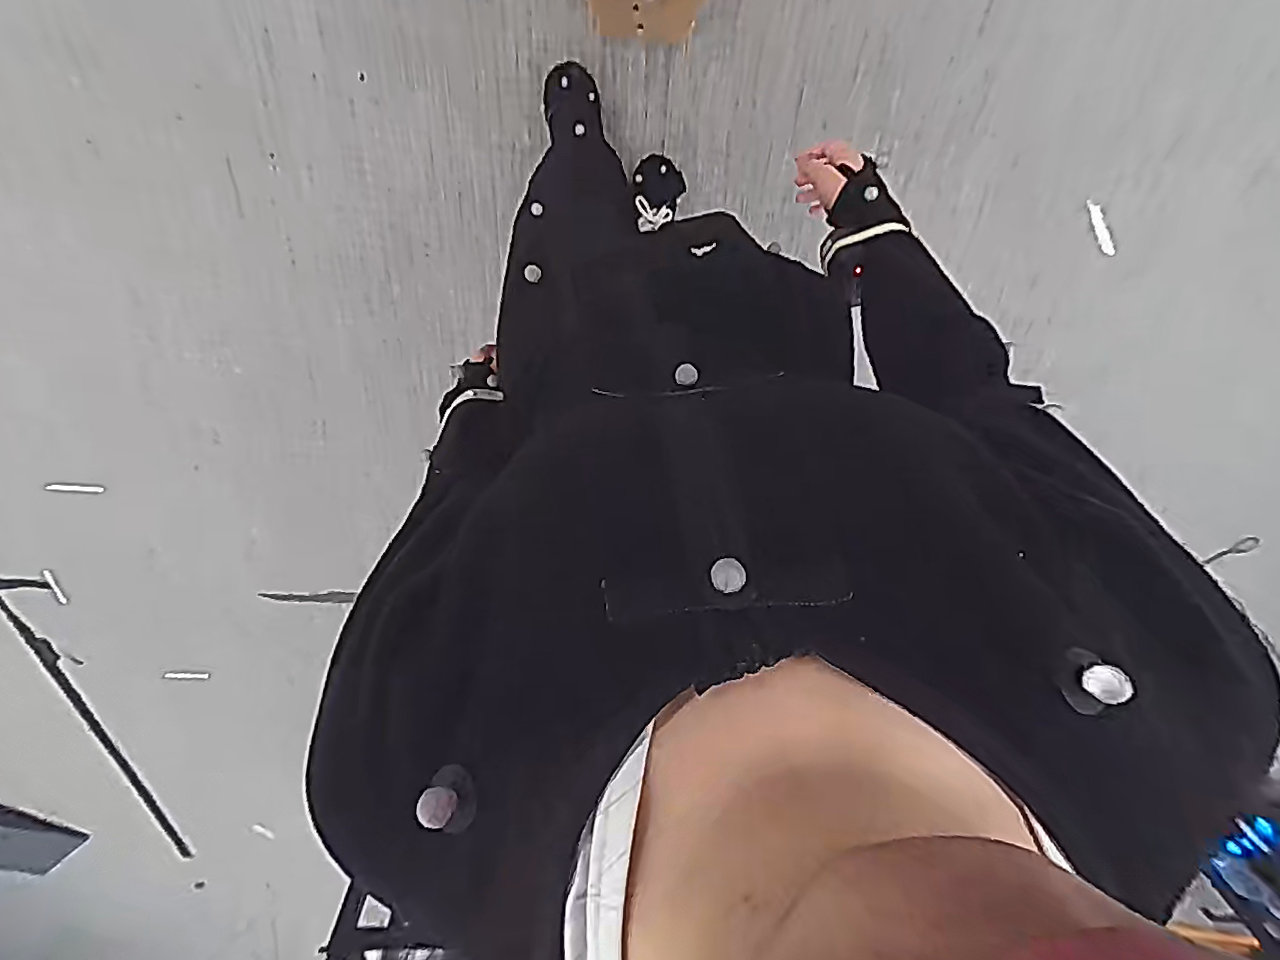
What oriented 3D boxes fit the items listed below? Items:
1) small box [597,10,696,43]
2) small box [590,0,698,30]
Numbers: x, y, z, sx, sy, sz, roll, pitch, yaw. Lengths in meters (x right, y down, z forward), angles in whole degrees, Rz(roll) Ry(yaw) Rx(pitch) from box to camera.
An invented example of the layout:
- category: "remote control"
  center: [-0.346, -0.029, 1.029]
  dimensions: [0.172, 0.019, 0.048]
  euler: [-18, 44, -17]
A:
- category: "small box"
  center: [0.014, -0.919, 0.985]
  dimensions: [0.179, 0.176, 0.168]
  euler: [3, 121, -4]
- category: "small box"
  center: [0.011, -0.832, 0.845]
  dimensions: [0.179, 0.176, 0.168]
  euler: [5, 121, -5]
